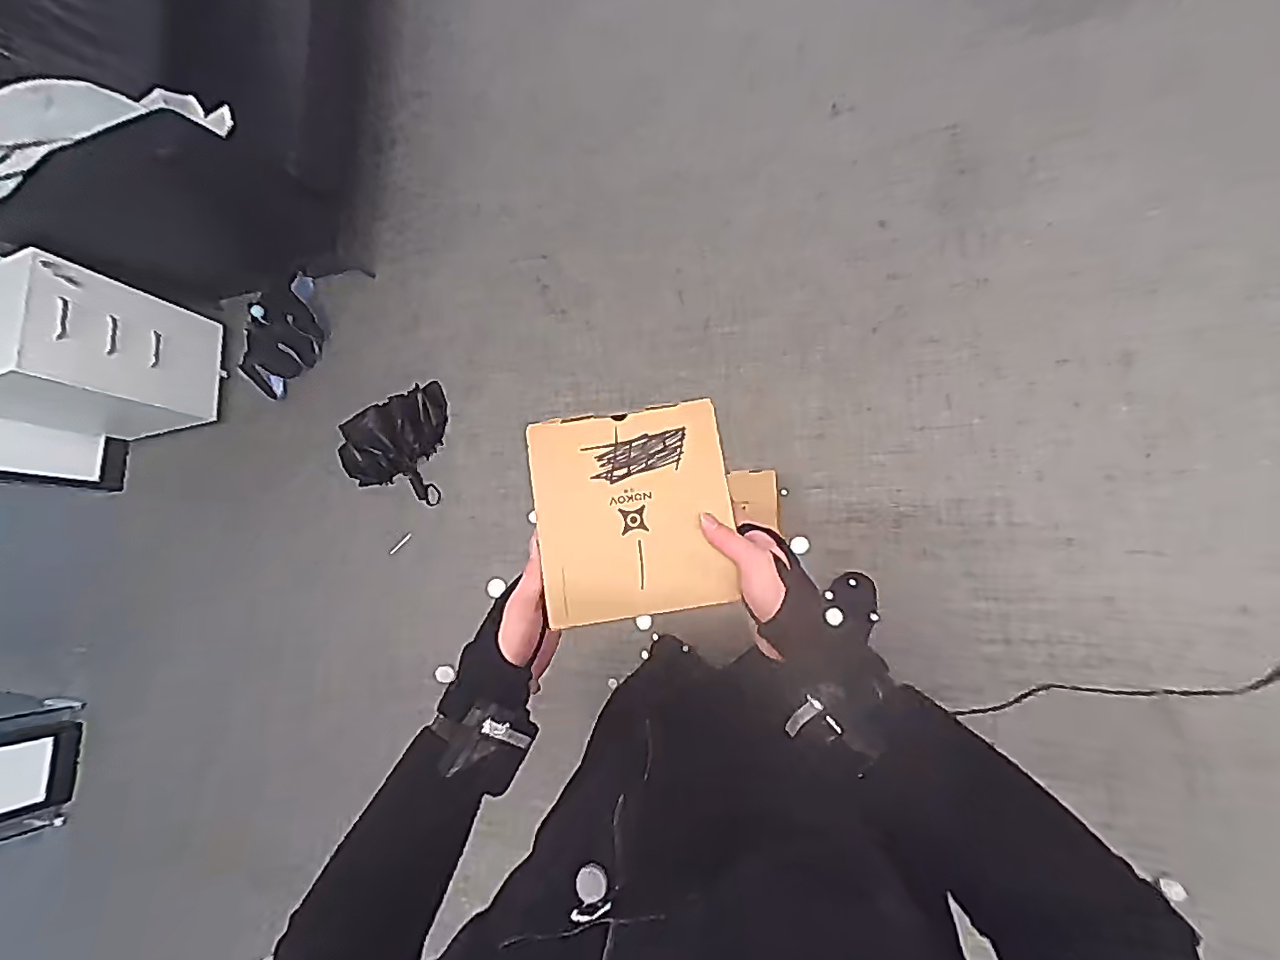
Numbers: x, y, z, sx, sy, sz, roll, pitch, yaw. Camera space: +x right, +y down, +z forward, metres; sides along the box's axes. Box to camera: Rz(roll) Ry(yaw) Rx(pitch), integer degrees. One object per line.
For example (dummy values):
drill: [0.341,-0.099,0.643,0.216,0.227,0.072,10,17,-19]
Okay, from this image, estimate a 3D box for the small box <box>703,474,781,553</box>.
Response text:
small box: [0.252,0.087,1.324,0.168,0.176,0.179,-4,81,20]
